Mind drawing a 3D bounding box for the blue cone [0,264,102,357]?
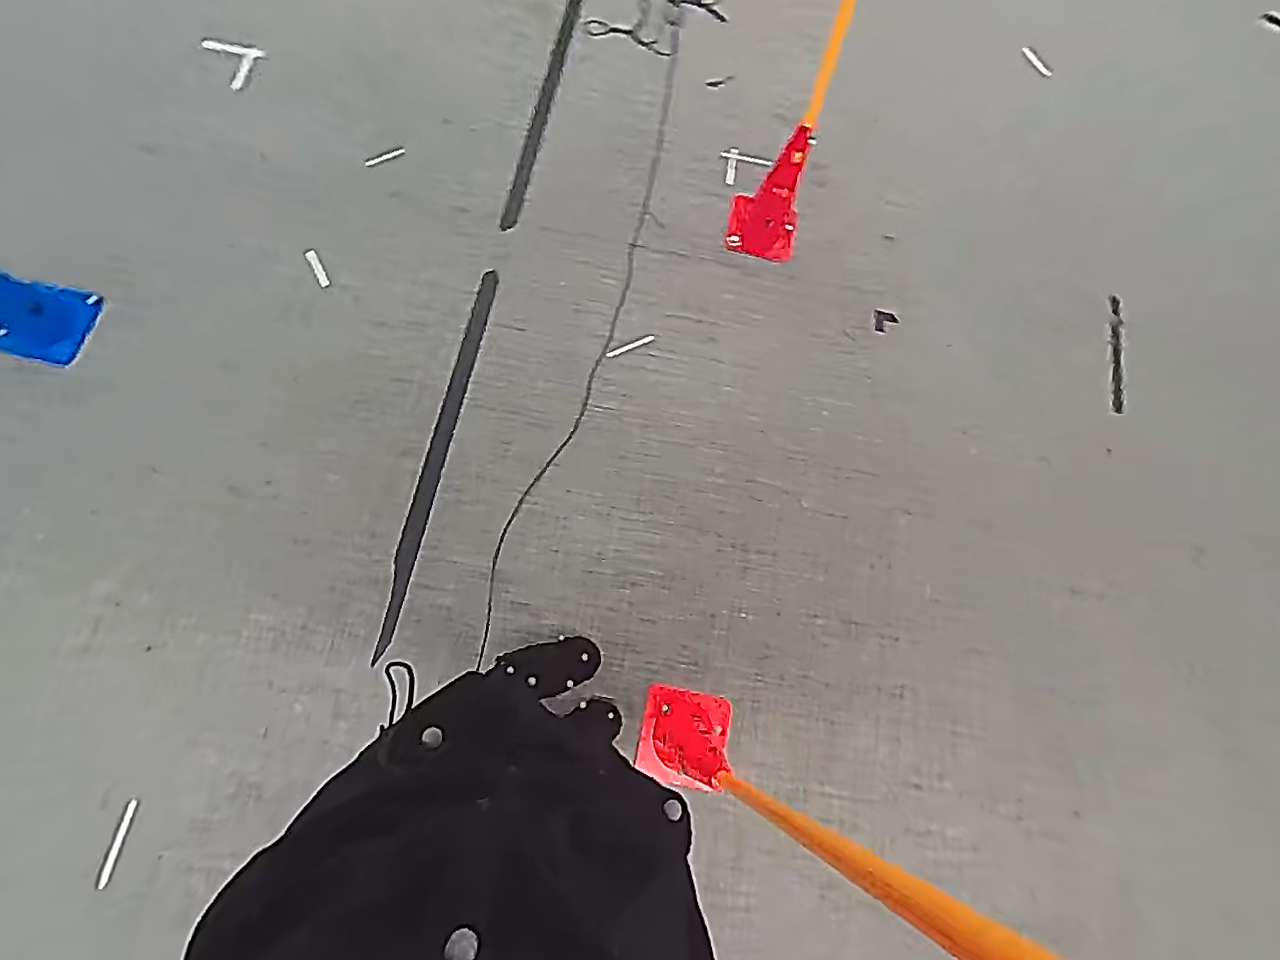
[{"bbox_3d":[-1.444,-0.440,1.177,0.193,0.380,0.192,15,74,-2],"label":"blue cone"}]

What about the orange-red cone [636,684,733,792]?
[{"bbox_3d":[0.118,0.538,1.054,0.198,0.360,0.199,14,75,-1],"label":"orange-red cone"}]
